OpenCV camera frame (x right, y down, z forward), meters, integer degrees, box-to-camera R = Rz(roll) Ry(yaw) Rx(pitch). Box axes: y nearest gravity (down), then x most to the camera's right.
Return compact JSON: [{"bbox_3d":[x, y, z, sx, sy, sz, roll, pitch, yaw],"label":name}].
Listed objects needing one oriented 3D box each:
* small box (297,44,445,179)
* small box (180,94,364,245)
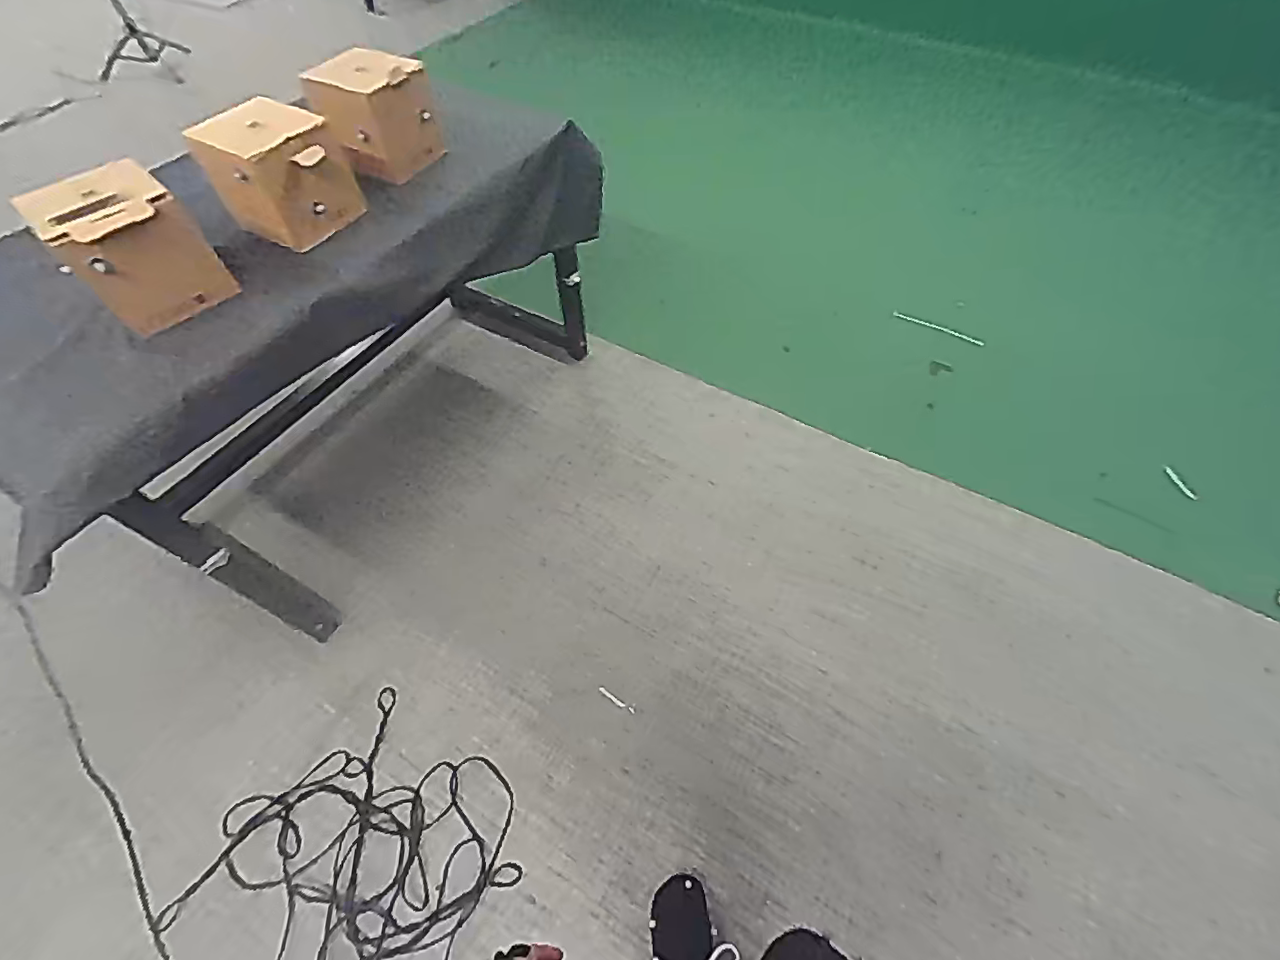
[{"bbox_3d":[-0.527,-0.738,1.090,0.179,0.176,0.168,22,58,16],"label":"small box"},{"bbox_3d":[-0.644,-0.552,0.967,0.179,0.176,0.168,25,60,16],"label":"small box"}]
